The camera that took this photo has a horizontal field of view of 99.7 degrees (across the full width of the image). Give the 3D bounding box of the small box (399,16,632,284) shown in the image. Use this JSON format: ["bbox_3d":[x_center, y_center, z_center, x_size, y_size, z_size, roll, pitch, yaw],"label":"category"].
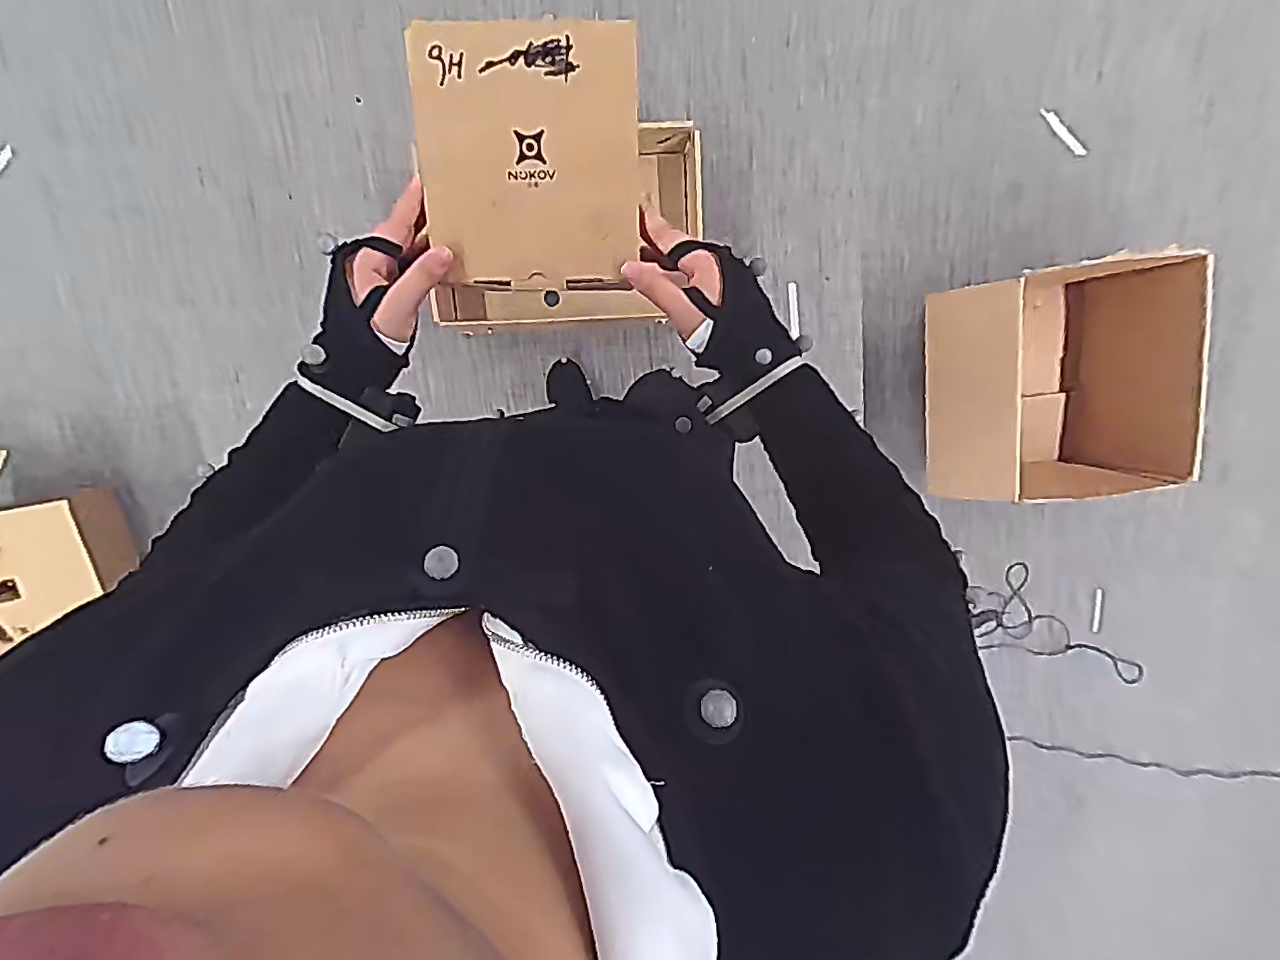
[{"bbox_3d":[-0.090,-0.268,0.482,0.168,0.176,0.179,-1,109,-2],"label":"small box"}]
